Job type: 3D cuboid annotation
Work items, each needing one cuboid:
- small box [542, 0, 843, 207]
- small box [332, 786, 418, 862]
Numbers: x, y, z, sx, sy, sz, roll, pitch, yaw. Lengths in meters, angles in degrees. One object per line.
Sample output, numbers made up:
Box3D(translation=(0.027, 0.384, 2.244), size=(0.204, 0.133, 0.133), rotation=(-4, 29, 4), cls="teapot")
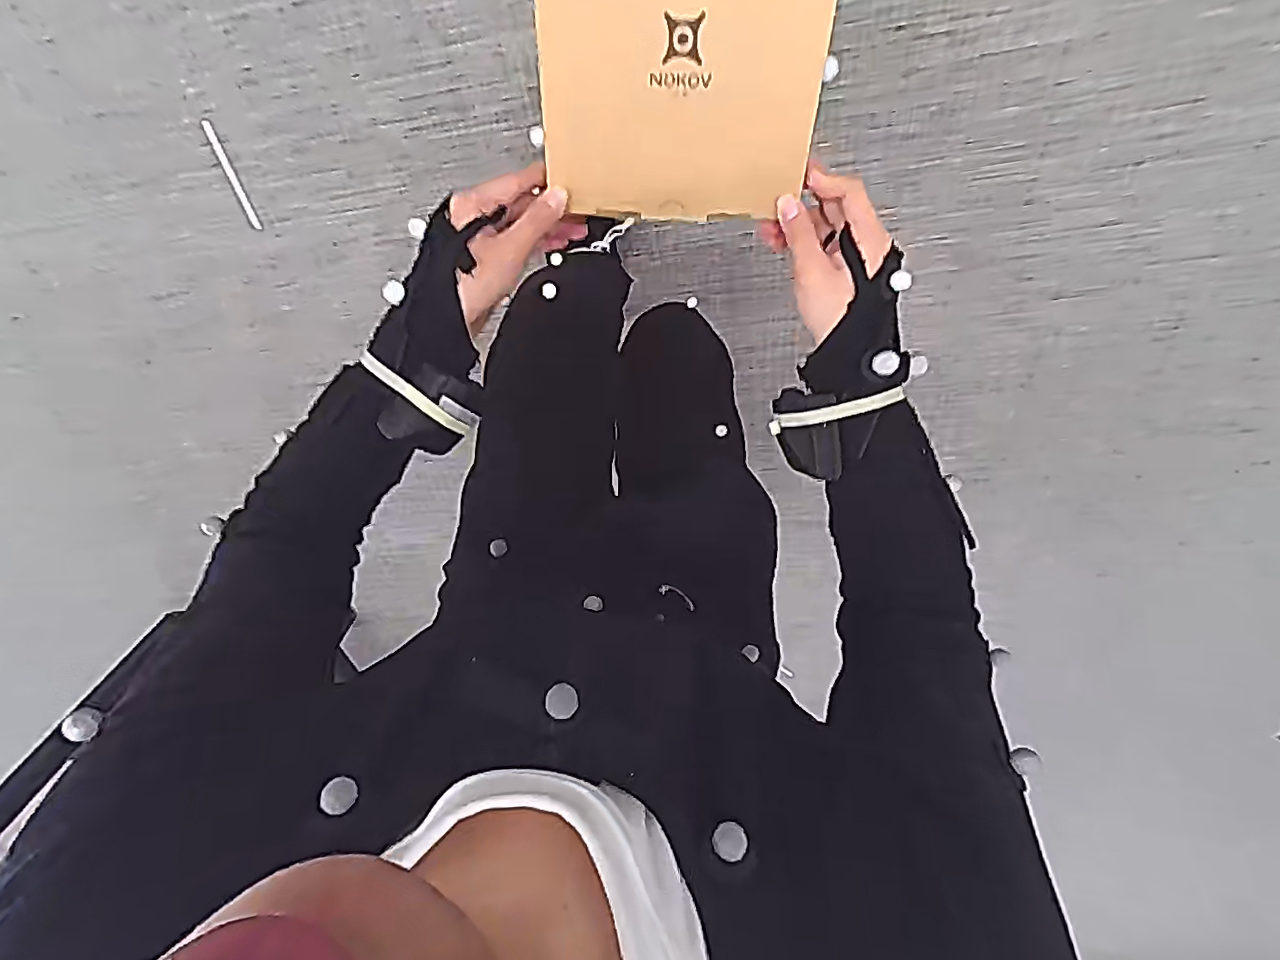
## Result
Box3D(translation=(0.028, -0.298, 0.361), size=(0.168, 0.176, 0.179), rotation=(2, 129, 1), cls="small box")
Box3D(translation=(-0.881, 1.153, 1.816), size=(0.179, 0.176, 0.168), rotation=(-6, 126, 6), cls="small box")
